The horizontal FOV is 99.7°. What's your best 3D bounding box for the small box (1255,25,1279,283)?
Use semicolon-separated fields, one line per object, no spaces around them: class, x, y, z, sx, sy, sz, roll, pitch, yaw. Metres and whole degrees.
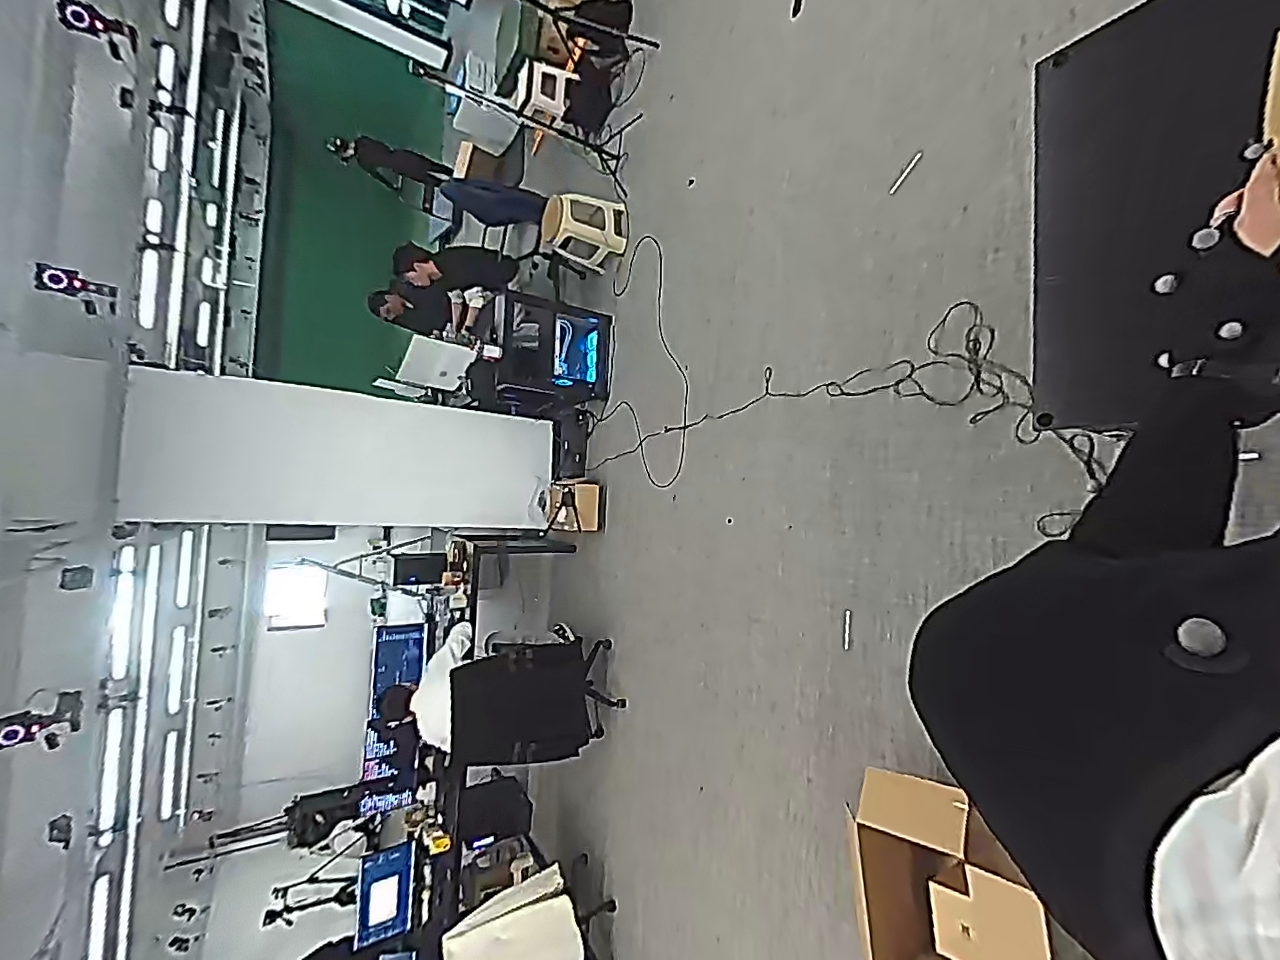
small box;0.623;-0.279;0.433;0.168;0.176;0.179;1;93;48
